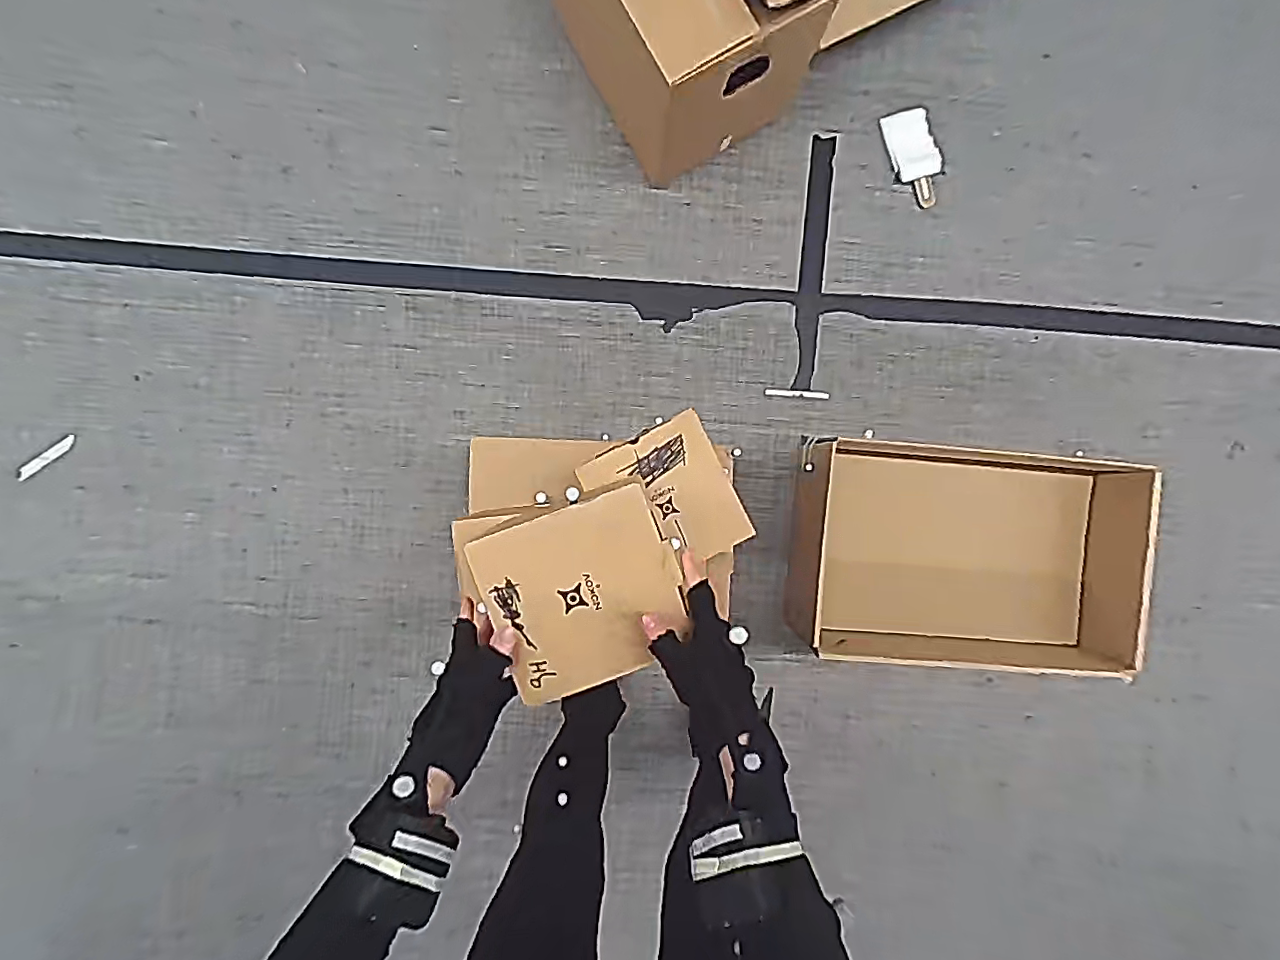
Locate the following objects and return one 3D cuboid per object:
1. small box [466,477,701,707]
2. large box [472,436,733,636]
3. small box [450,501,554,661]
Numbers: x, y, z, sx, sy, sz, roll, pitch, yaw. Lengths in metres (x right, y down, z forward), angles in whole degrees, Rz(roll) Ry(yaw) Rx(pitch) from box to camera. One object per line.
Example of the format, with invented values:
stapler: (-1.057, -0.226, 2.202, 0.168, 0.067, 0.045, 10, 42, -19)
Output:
small box: (-0.054, 0.099, 0.569, 0.179, 0.176, 0.168, -20, 93, -1)
large box: (-0.064, 0.087, 0.975, 0.408, 0.320, 0.320, 1, 92, -3)
small box: (-0.141, 0.122, 0.731, 0.168, 0.176, 0.179, -7, 90, -4)
